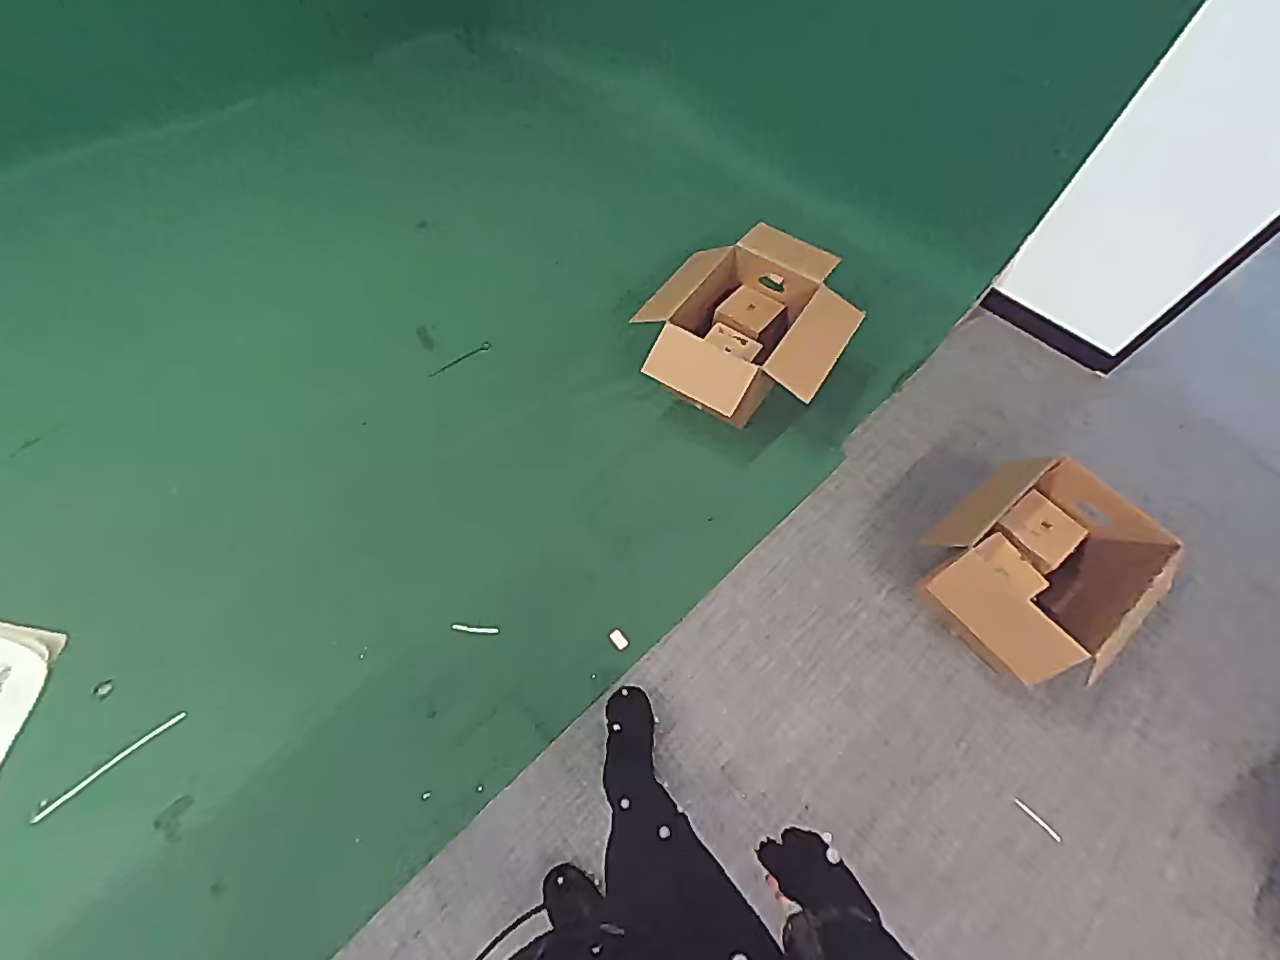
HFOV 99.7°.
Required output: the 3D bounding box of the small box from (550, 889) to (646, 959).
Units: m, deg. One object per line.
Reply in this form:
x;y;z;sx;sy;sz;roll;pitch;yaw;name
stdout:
-0.078;0.908;1.059;0.179;0.176;0.168;0;55;4;small box
